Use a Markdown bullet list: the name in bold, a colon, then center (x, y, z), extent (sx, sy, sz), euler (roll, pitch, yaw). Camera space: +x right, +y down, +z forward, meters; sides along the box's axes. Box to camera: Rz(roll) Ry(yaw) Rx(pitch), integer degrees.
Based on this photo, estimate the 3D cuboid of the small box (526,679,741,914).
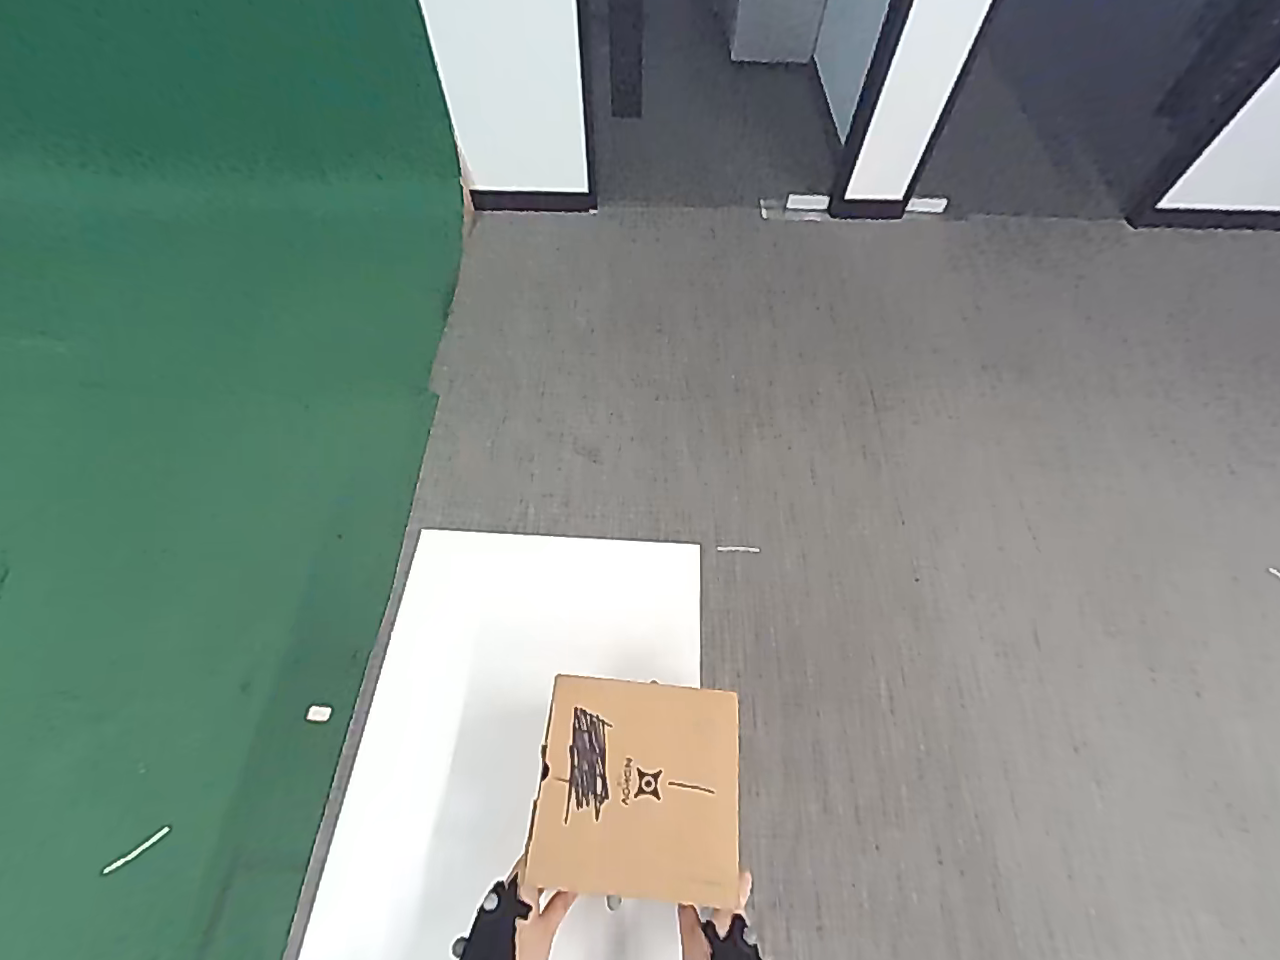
- **small box**: center (0.000, 0.311, 0.542), extent (0.179, 0.176, 0.168), euler (5, 59, 2)
